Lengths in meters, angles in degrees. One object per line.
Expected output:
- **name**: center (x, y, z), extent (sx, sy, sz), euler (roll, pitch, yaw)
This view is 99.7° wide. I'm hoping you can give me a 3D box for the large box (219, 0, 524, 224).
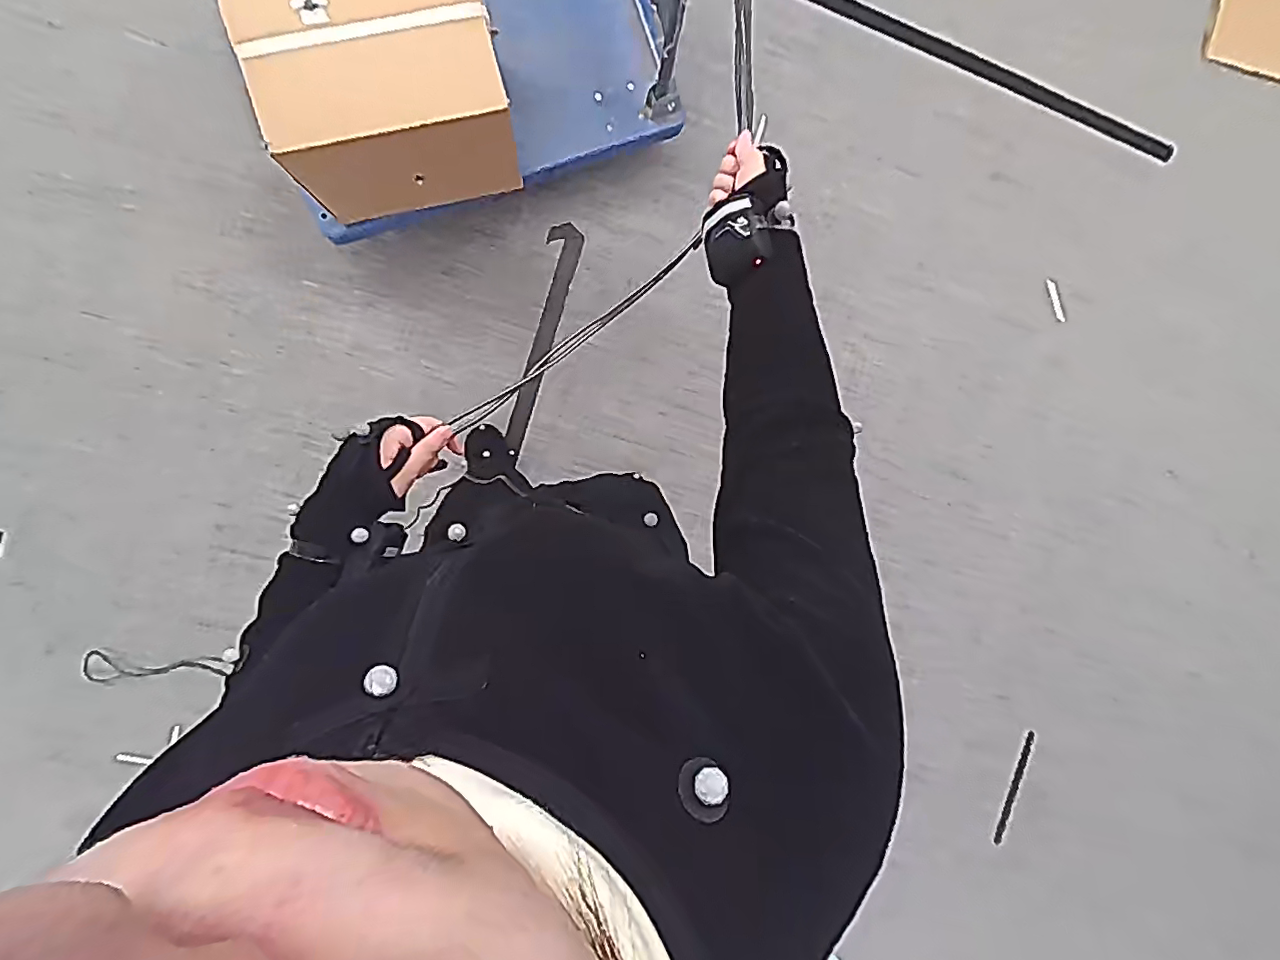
- **large box**: center (-0.470, -0.738, 1.033), extent (0.408, 0.320, 0.320), euler (-16, 96, -5)
